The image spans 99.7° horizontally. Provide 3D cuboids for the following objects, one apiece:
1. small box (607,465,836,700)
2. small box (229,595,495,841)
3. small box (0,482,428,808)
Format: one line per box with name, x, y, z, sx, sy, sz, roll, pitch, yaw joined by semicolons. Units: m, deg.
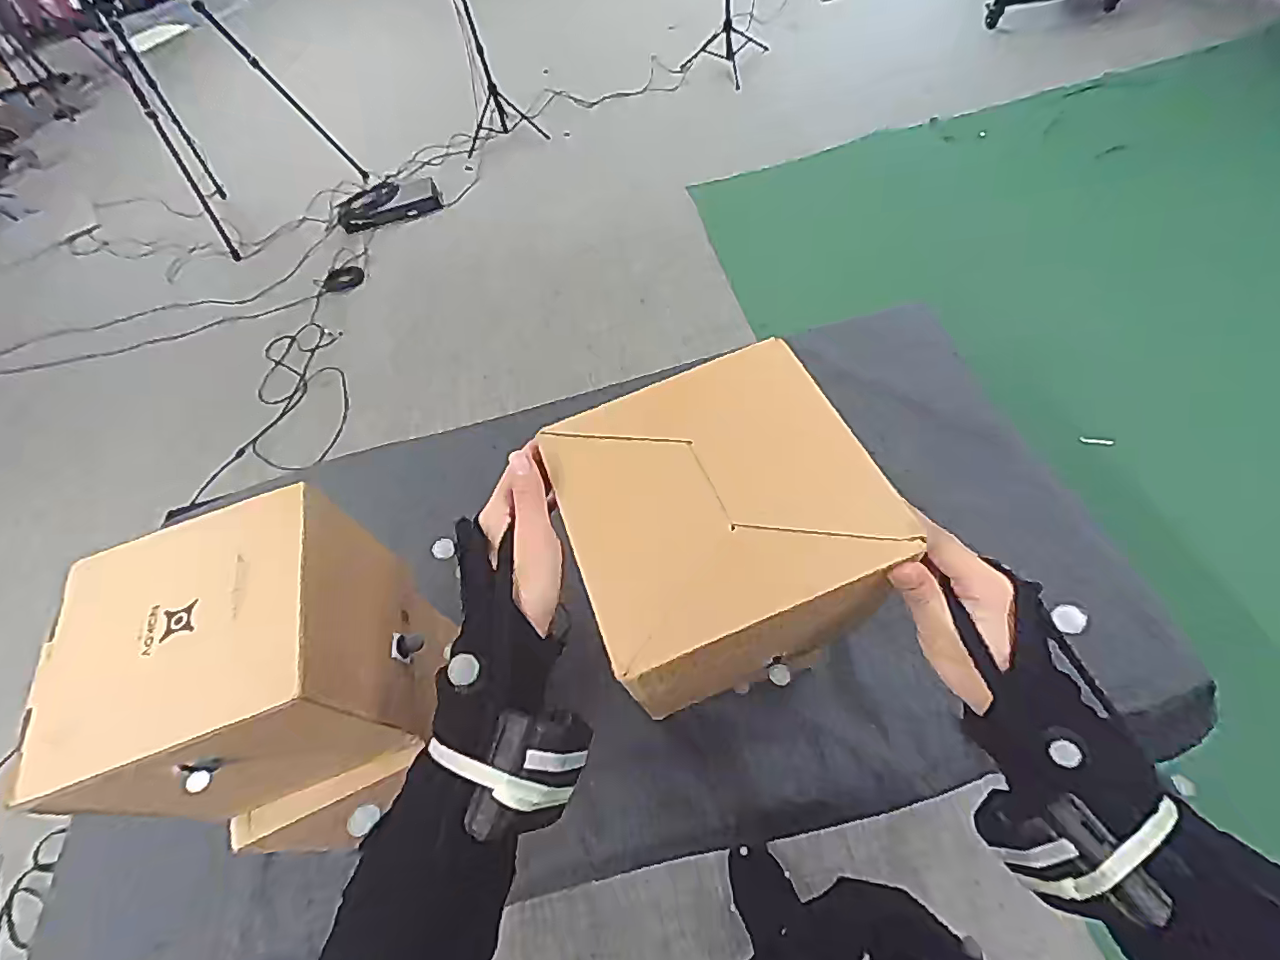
small box;0.076;0.113;0.564;0.179;0.176;0.168;-15;56;0
small box;-0.266;0.234;0.544;0.168;0.176;0.179;-24;57;-6
small box;-0.290;0.135;0.416;0.179;0.176;0.168;-19;57;-3
